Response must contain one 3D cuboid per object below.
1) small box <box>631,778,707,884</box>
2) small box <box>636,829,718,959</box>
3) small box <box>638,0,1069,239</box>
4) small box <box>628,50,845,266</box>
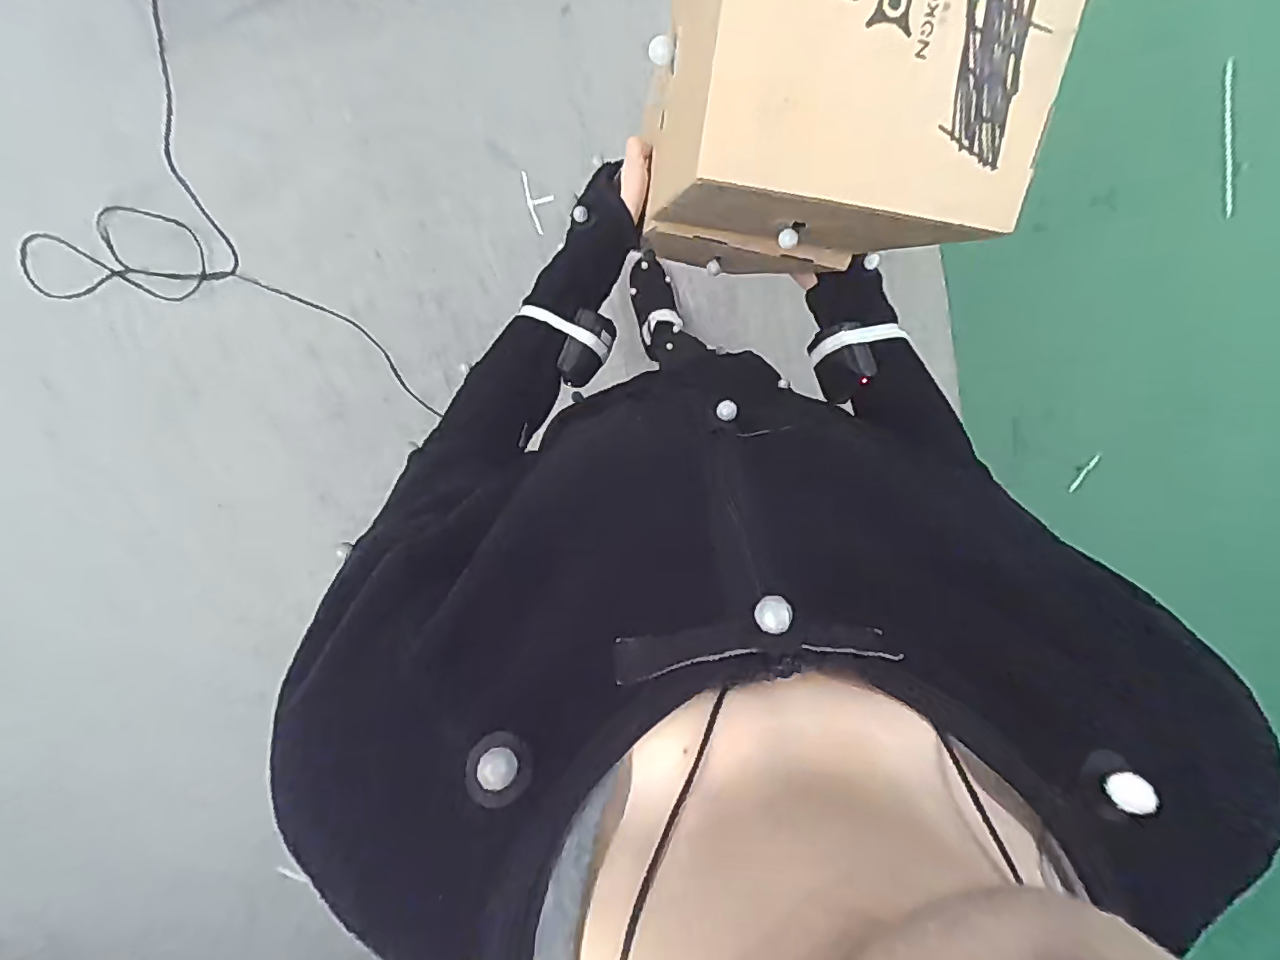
[{"bbox_3d":[0.069,0.893,1.386,0.179,0.176,0.168,-2,101,-3],"label":"small box"},{"bbox_3d":[0.076,0.929,1.227,0.168,0.176,0.179,1,102,-2],"label":"small box"},{"bbox_3d":[0.104,-0.245,0.317,0.179,0.176,0.168,5,109,-9],"label":"small box"},{"bbox_3d":[0.088,-0.296,0.472,0.168,0.176,0.179,8,108,-10],"label":"small box"}]
